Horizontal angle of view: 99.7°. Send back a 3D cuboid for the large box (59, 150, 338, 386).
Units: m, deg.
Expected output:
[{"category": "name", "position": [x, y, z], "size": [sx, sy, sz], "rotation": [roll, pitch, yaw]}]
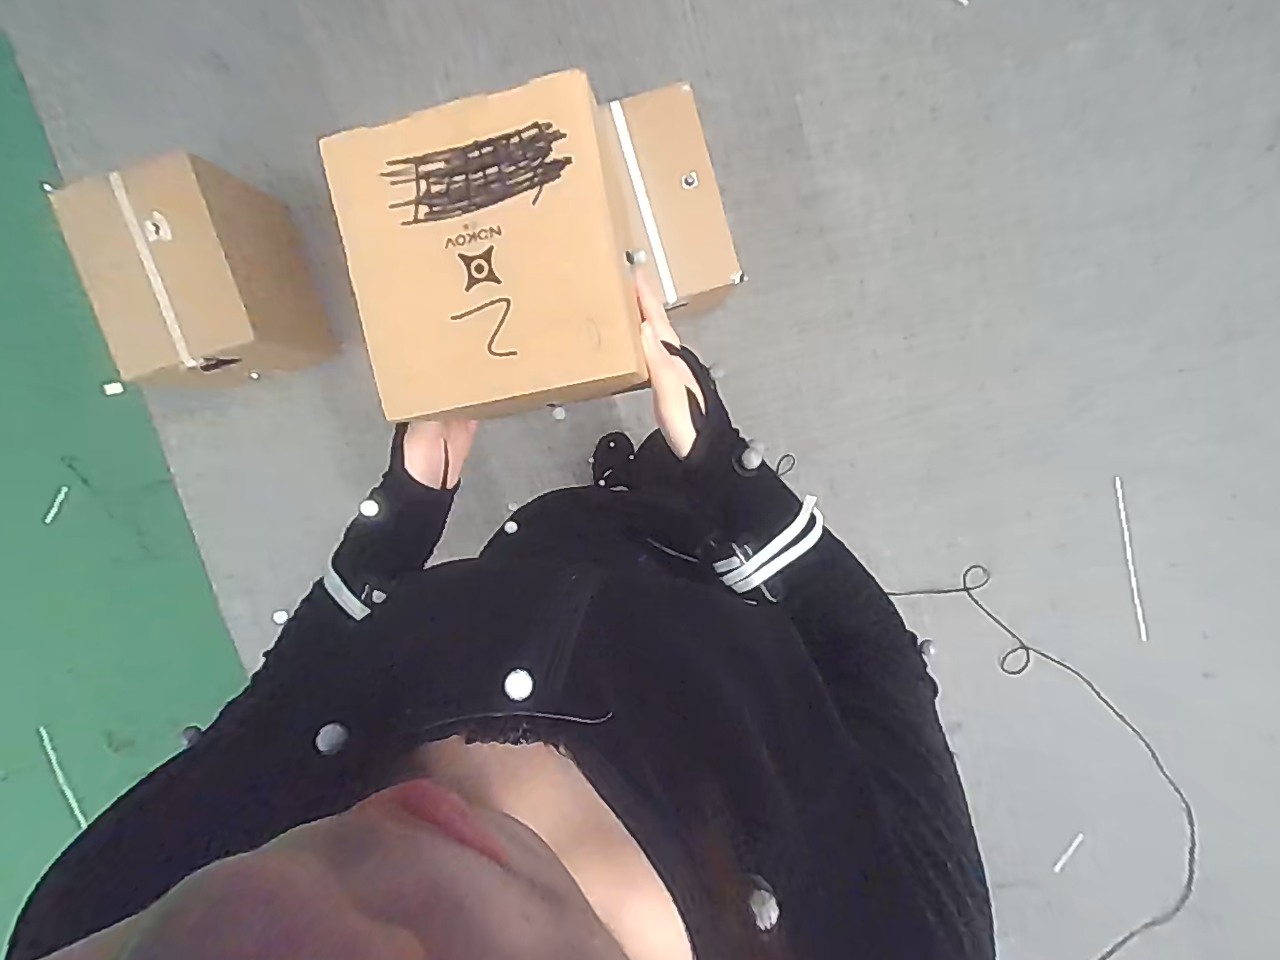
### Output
[{"category": "large box", "position": [-1.006, -0.466, 1.286], "size": [0.320, 0.320, 0.408], "rotation": [-16, 96, 3]}]
